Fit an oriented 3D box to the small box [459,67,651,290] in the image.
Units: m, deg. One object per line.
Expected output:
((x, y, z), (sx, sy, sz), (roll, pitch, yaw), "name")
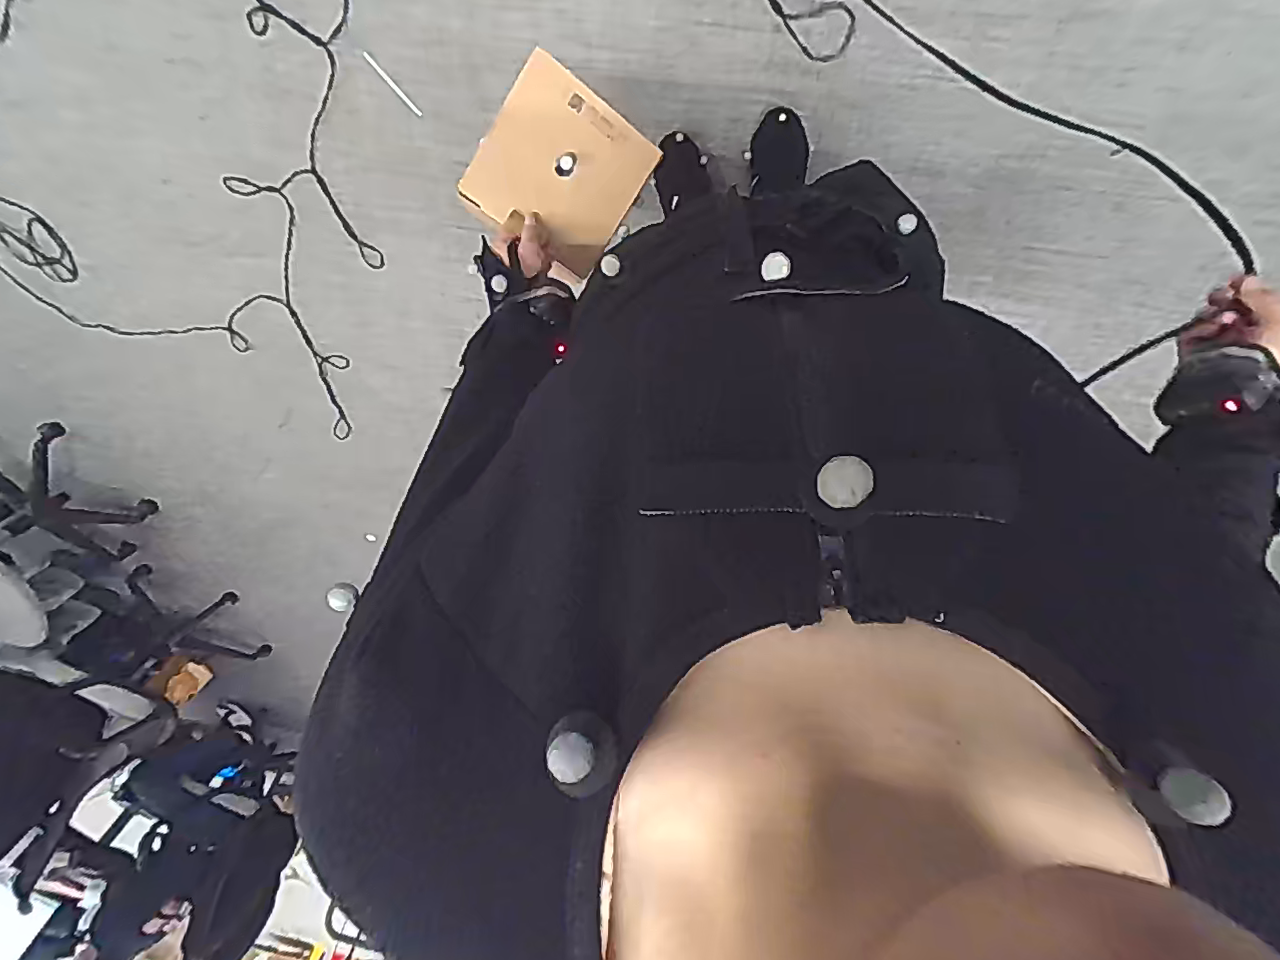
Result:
((-0.106, -0.360, 0.676), (0.168, 0.179, 0.176), (29, 99, -19), "small box")
